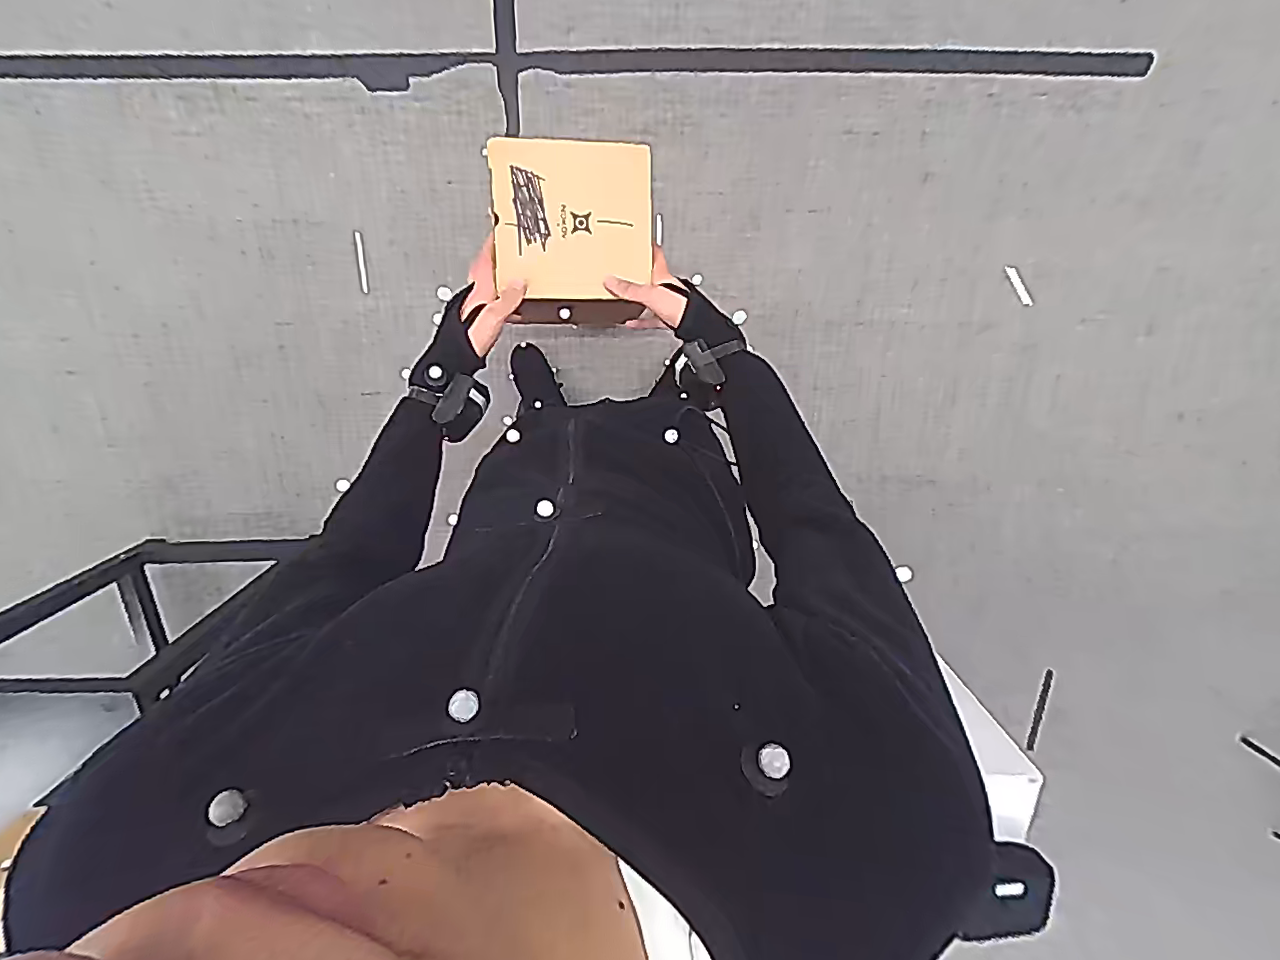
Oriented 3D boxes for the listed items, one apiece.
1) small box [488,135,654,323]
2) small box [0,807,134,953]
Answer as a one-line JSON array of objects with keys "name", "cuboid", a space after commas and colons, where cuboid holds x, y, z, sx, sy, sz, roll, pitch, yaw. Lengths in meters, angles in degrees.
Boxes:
[{"name": "small box", "cuboid": [-0.081, -0.287, 0.657, 0.179, 0.176, 0.168, -2, 98, -8]}, {"name": "small box", "cuboid": [-1.153, 0.763, 1.044, 0.179, 0.176, 0.168, -1, 109, -1]}]
